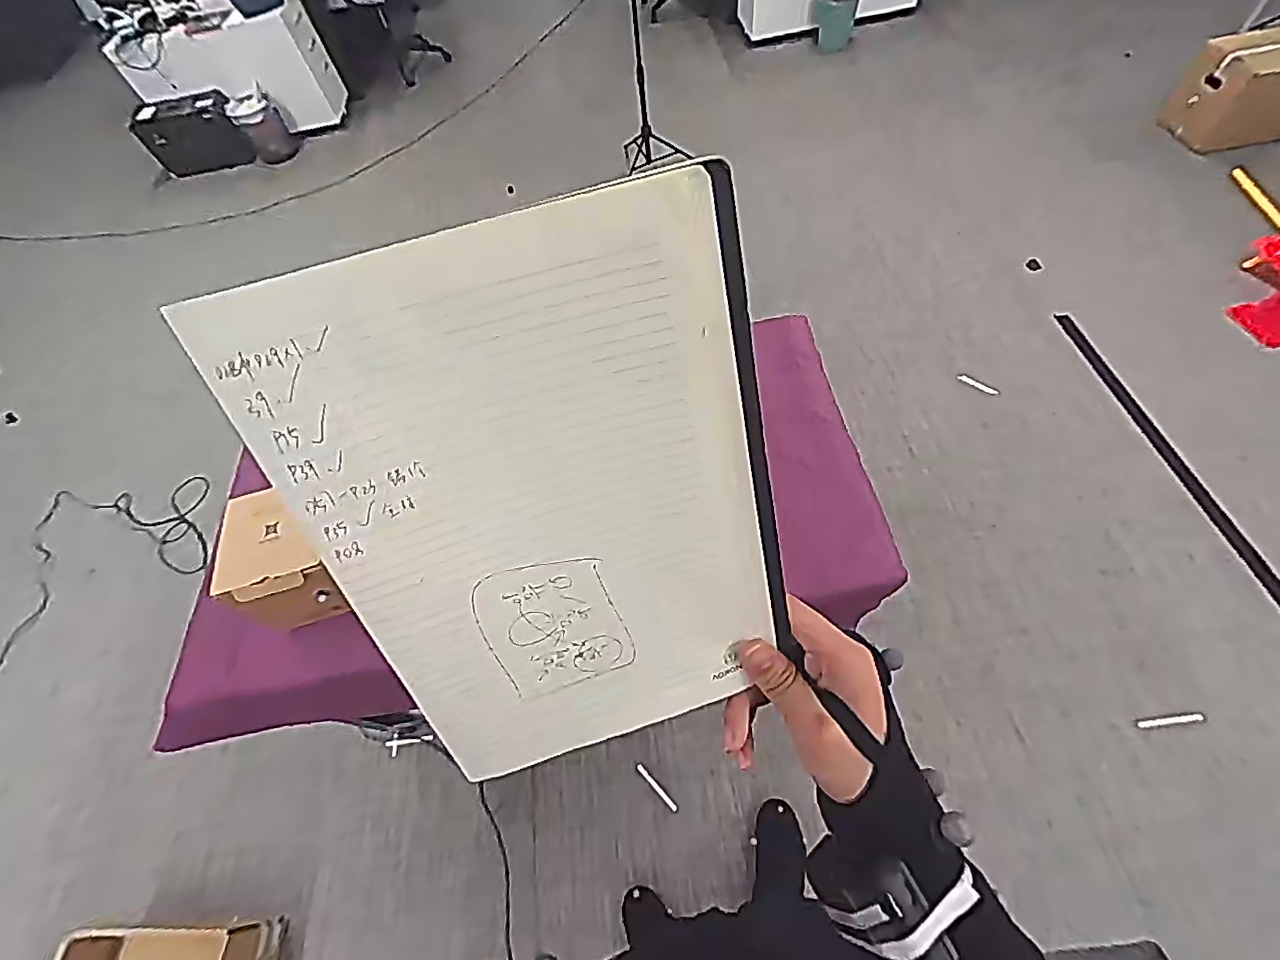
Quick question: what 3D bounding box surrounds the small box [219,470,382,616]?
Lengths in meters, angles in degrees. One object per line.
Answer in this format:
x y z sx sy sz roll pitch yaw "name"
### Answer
-0.554 0.114 0.909 0.168 0.176 0.179 -16 58 -2 "small box"
